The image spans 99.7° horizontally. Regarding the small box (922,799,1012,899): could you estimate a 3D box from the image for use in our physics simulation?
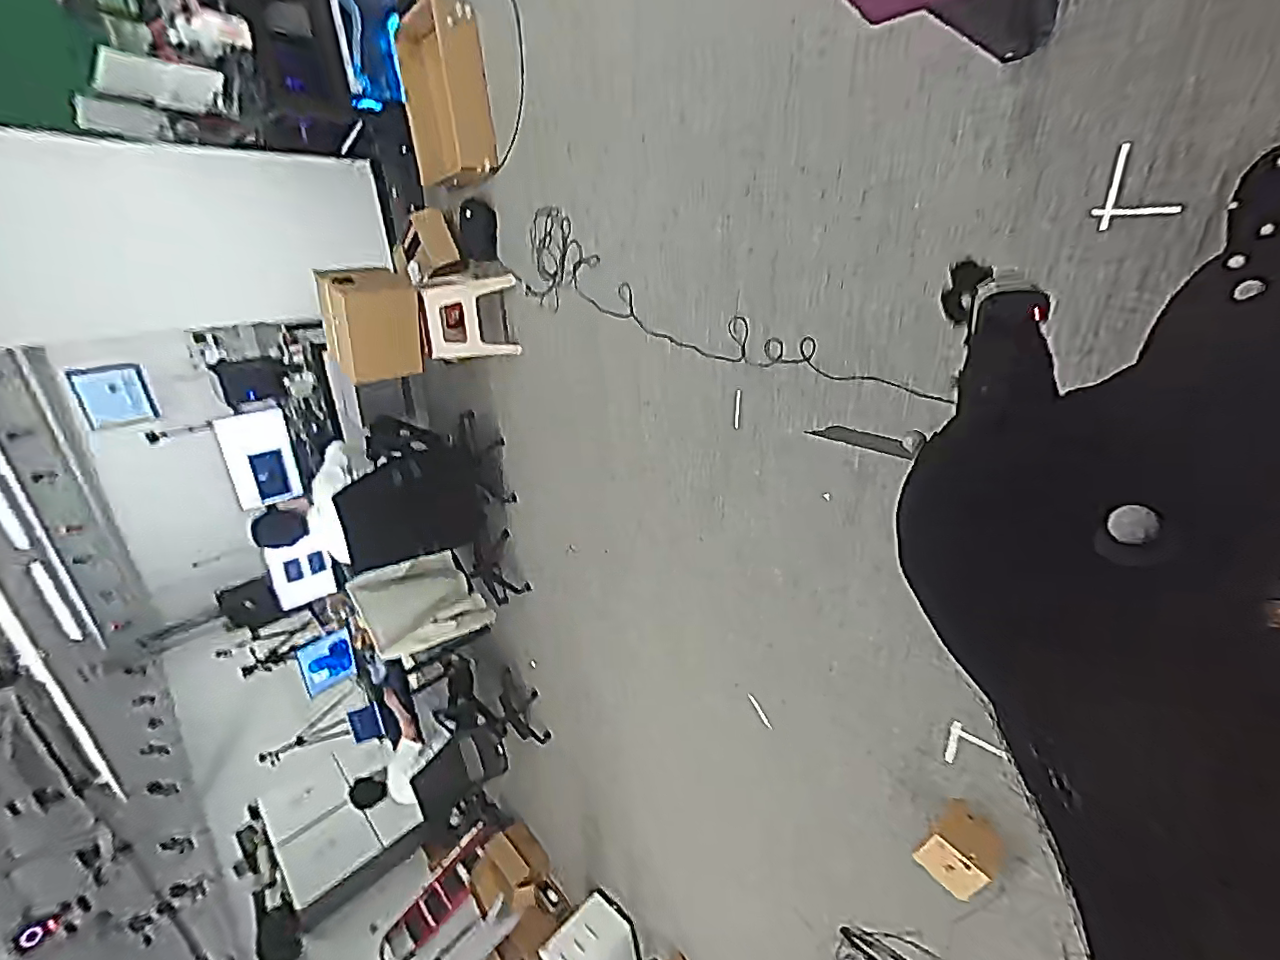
[{"bbox_3d":[1.040,1.166,1.717,0.168,0.176,0.179,36,132,32],"label":"small box"}]
